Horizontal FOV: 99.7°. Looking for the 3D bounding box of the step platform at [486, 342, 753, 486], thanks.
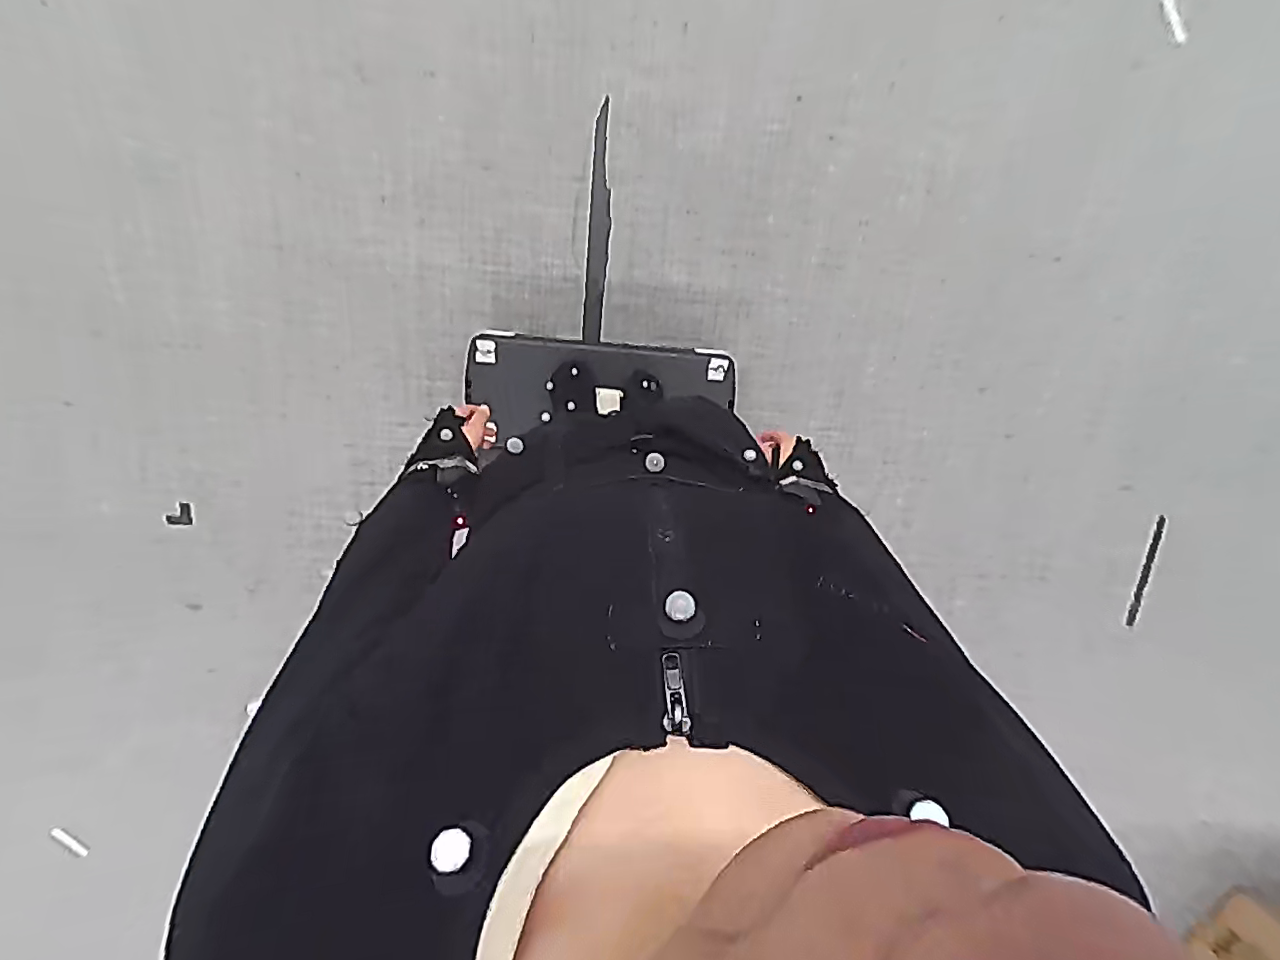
[{"bbox_3d":[-0.054,-0.172,1.430,0.684,0.204,0.286,8,103,-6],"label":"step platform"}]
